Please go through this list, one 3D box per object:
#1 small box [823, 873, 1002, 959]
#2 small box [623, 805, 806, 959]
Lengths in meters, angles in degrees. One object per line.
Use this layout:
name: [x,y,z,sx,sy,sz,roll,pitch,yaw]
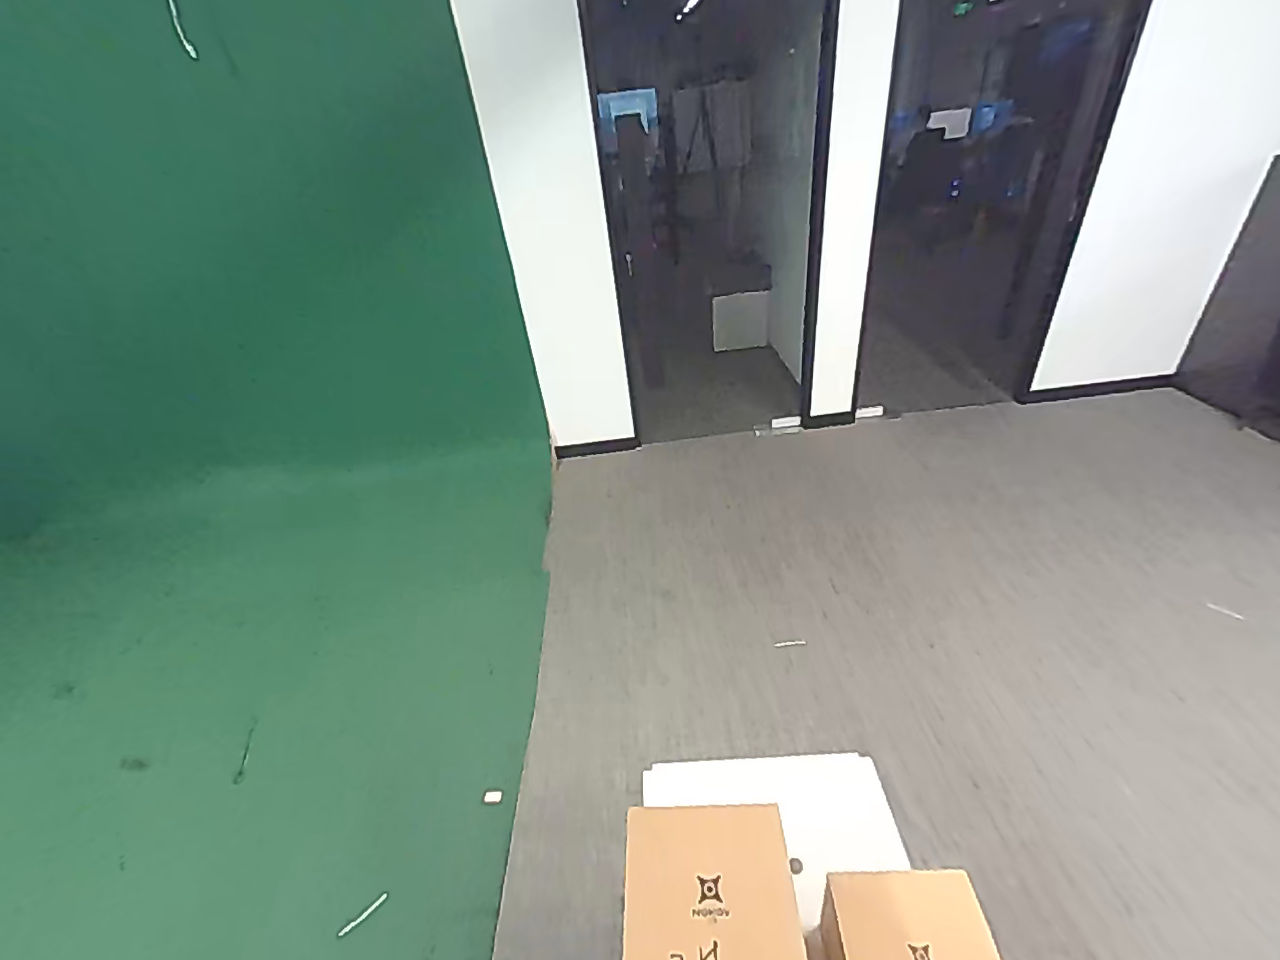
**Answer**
small box: [0.318,0.593,0.628,0.168,0.176,0.179,-6,34,5]
small box: [0.075,0.470,0.561,0.168,0.176,0.179,-4,34,5]
